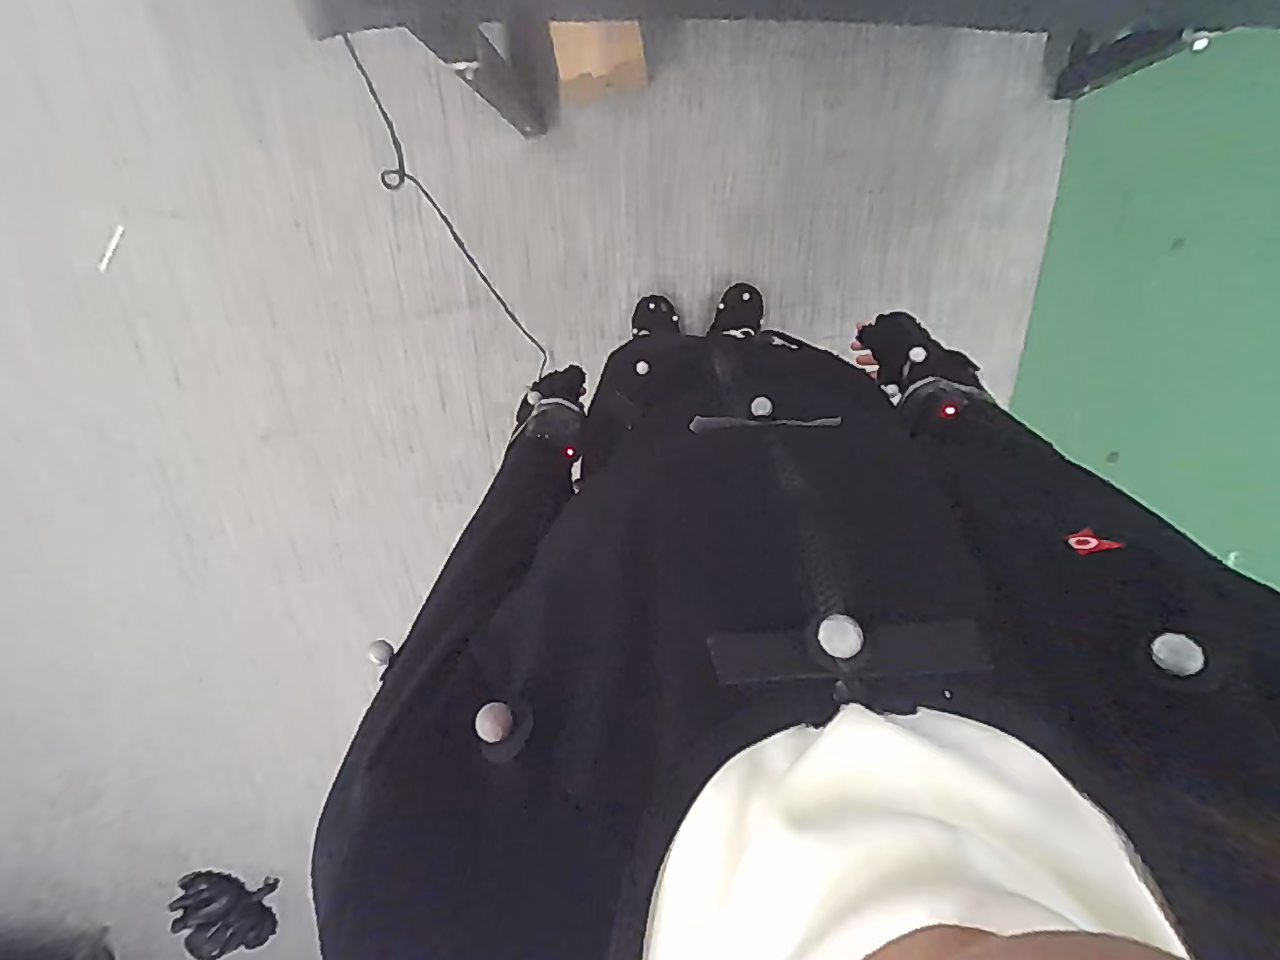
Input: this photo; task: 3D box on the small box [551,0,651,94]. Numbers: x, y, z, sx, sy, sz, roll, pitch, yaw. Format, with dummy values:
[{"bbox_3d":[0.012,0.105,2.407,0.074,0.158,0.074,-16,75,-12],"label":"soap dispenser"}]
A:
[{"bbox_3d":[-0.073,-0.892,1.066,0.168,0.176,0.179,-10,111,7],"label":"small box"}]
